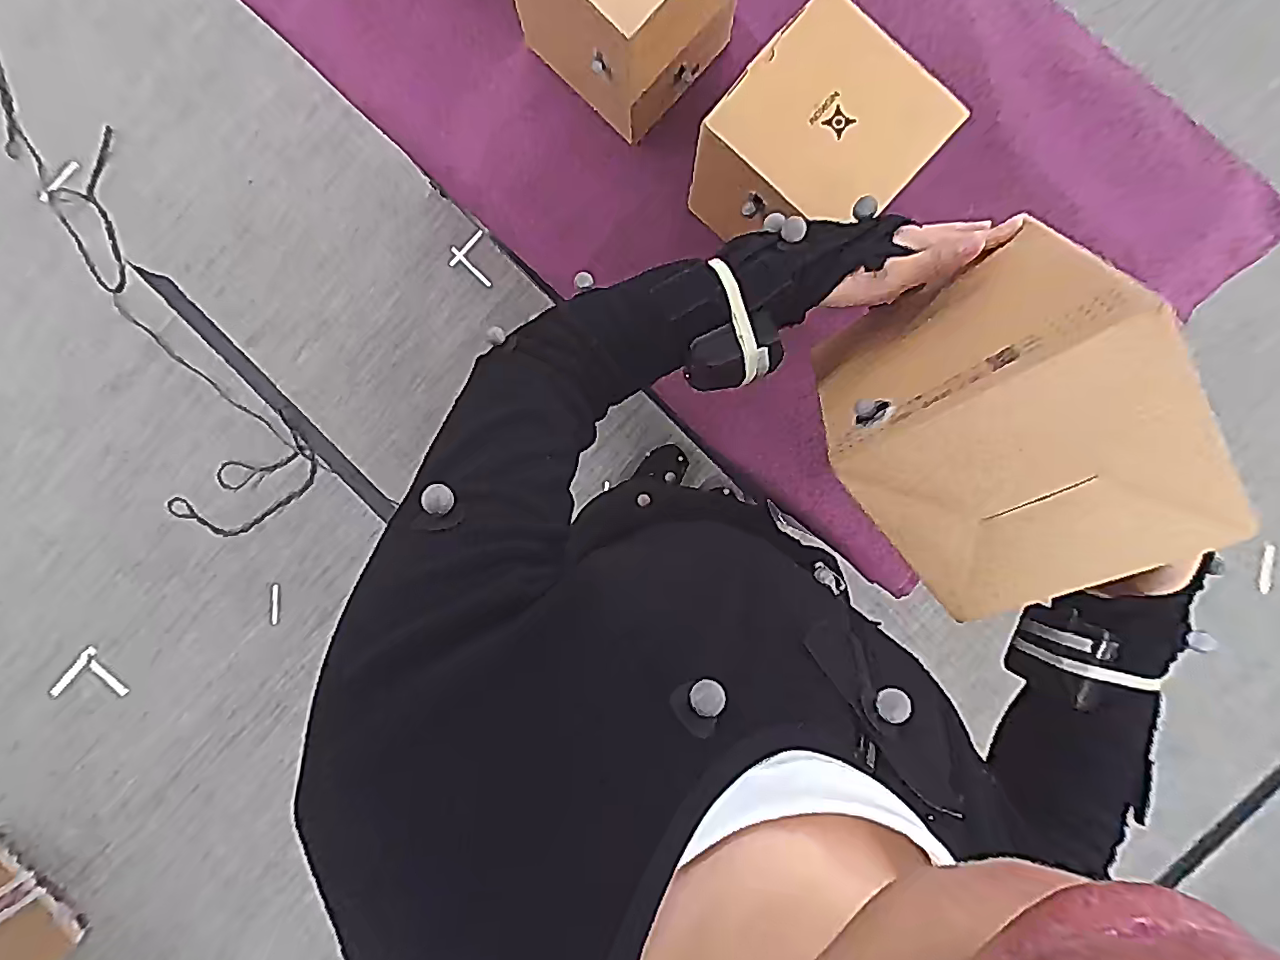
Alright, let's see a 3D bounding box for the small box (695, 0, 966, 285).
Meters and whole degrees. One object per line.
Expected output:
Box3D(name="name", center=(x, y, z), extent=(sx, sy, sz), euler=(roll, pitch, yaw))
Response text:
Box3D(name="small box", center=(0.176, -0.329, 0.562), extent=(0.179, 0.176, 0.168), euler=(43, 93, 0))
